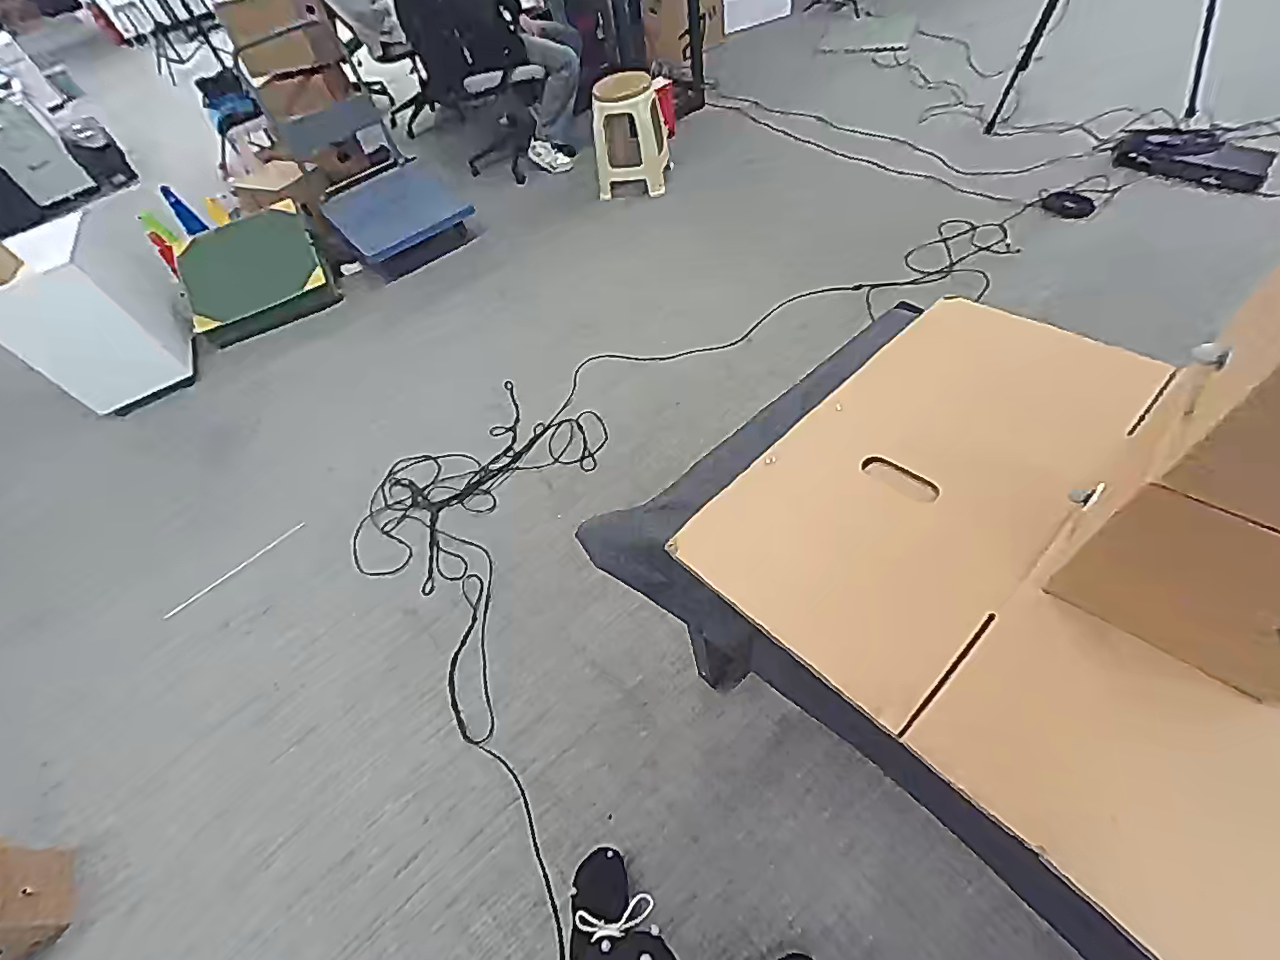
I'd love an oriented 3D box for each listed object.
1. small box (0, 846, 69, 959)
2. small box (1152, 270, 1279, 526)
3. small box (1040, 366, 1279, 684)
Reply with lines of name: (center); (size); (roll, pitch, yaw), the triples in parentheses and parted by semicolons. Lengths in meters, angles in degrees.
small box: (-1.417, 0.939, 1.186); (0.168, 0.176, 0.179); (-35, 56, -15)
small box: (0.470, -0.062, 0.315); (0.179, 0.176, 0.168); (30, 61, 28)
small box: (0.484, 0.041, 0.444); (0.179, 0.176, 0.168); (31, 61, 28)
